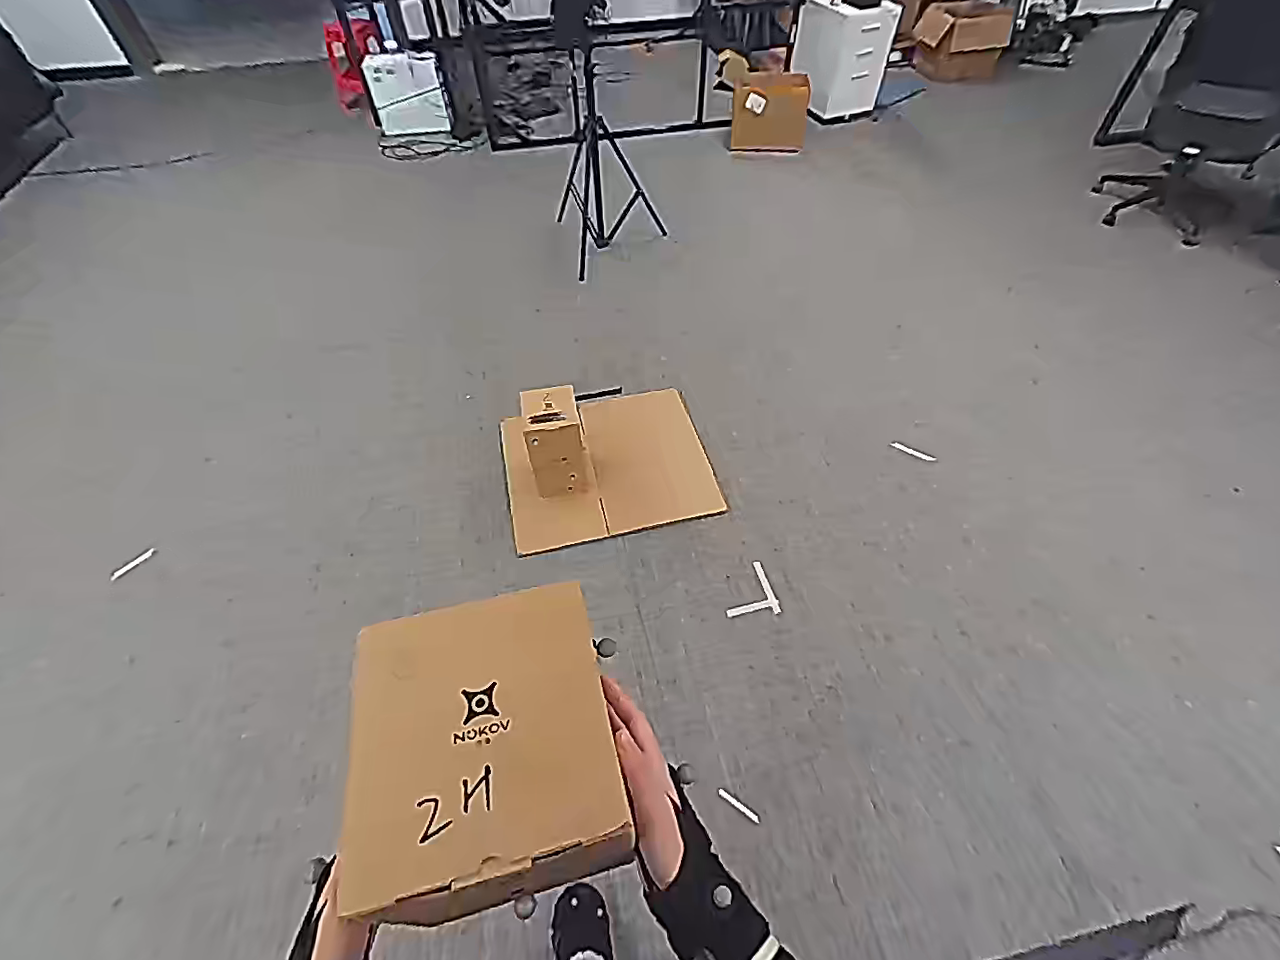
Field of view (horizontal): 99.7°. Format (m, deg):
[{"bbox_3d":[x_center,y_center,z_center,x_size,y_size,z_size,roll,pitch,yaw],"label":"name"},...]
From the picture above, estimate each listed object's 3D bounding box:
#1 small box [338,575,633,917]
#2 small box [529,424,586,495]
[{"bbox_3d":[-0.104,0.204,0.417,0.168,0.176,0.179,-12,50,-9],"label":"small box"},{"bbox_3d":[-0.276,-0.063,1.816,0.168,0.176,0.179,-8,52,-7],"label":"small box"}]
